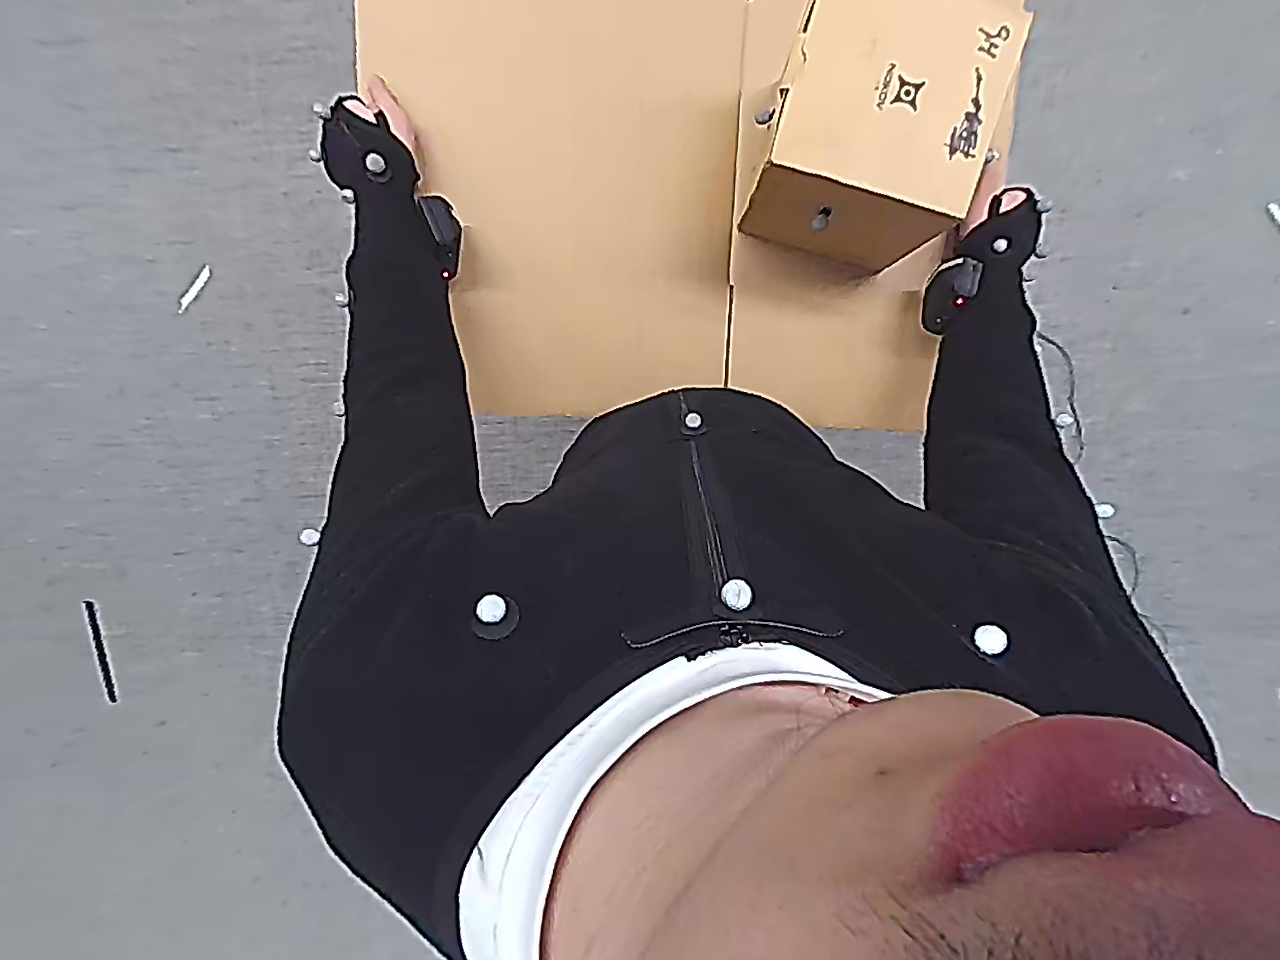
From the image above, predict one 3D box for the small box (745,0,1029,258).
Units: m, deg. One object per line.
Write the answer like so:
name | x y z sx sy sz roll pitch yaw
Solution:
small box | 0.214 -0.337 0.527 0.179 0.176 0.168 17 97 0
